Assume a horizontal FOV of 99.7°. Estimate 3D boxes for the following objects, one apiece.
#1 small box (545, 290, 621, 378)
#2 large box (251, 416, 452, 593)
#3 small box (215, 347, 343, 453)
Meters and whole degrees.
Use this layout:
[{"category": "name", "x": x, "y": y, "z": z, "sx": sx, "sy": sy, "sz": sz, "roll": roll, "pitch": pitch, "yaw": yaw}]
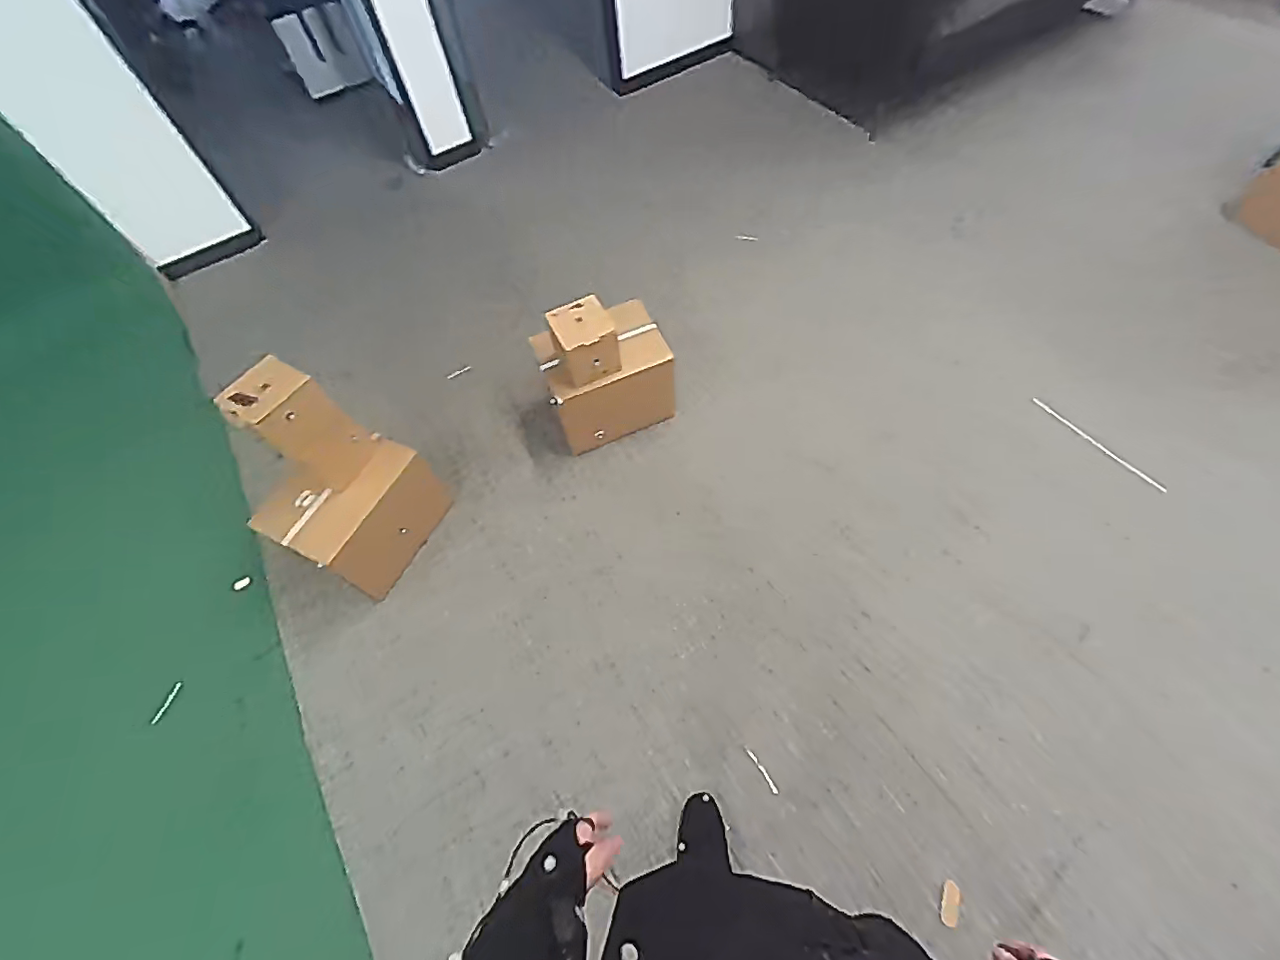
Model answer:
[{"category": "small box", "x": -0.168, "y": -0.436, "z": 1.650, "sx": 0.168, "sy": 0.176, "sz": 0.179, "roll": -24, "pitch": 63, "yaw": -10}, {"category": "large box", "x": -0.869, "y": 0.079, "z": 1.692, "sx": 0.320, "sy": 0.320, "sz": 0.408, "roll": 20, "pitch": 64, "yaw": 17}, {"category": "small box", "x": -0.910, "y": -0.200, "z": 1.381, "sx": 0.168, "sy": 0.176, "sz": 0.179, "roll": 27, "pitch": 65, "yaw": 19}]
